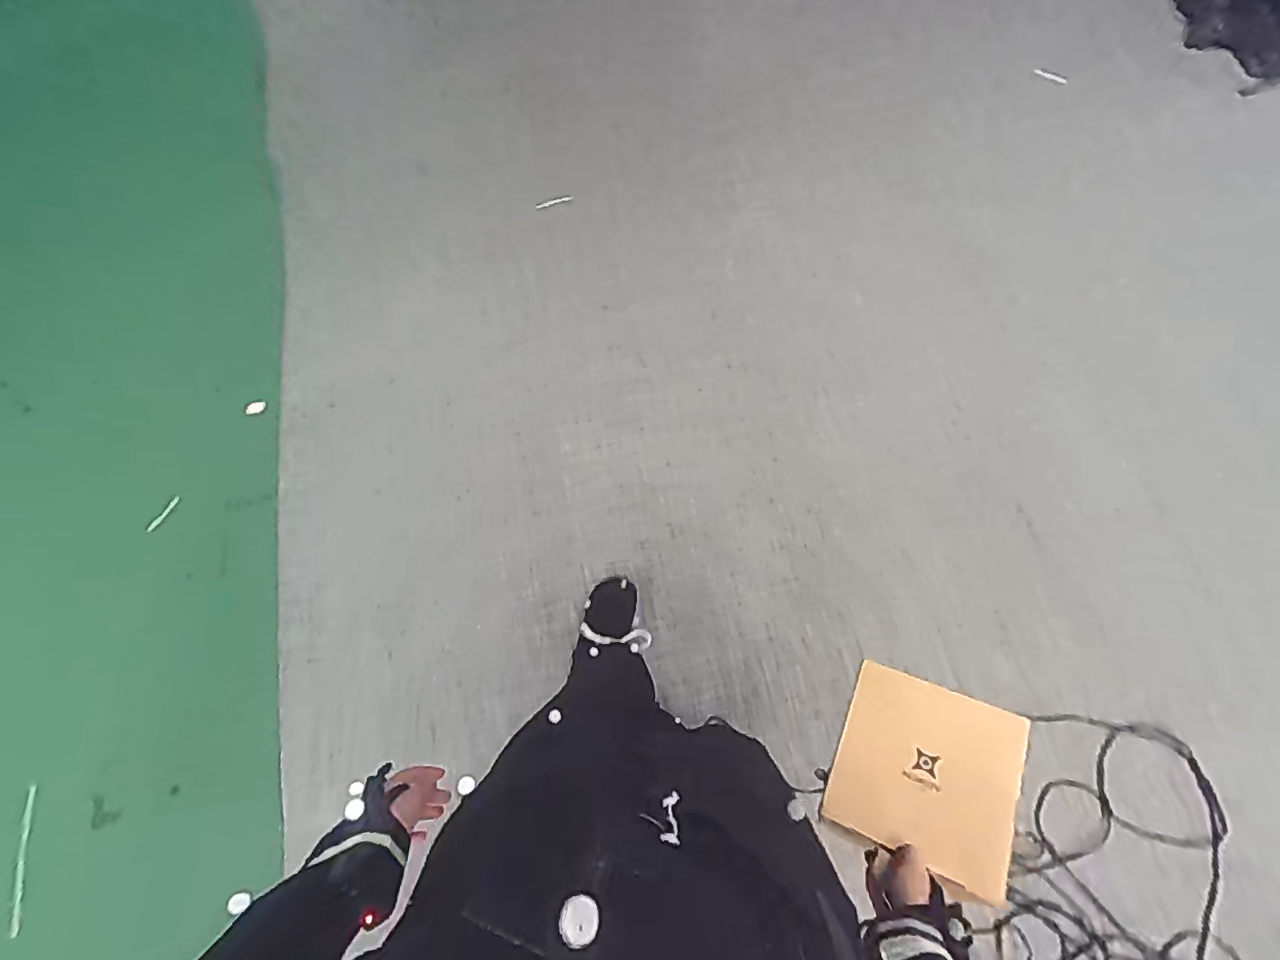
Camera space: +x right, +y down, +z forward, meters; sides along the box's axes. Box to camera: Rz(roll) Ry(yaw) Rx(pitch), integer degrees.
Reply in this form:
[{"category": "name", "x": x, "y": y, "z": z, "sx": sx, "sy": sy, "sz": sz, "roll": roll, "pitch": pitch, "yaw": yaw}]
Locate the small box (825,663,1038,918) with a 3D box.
[{"category": "small box", "x": 0.313, "y": 0.339, "z": 0.607, "sx": 0.168, "sy": 0.176, "sz": 0.179, "roll": 16, "pitch": 63, "yaw": 28}]
